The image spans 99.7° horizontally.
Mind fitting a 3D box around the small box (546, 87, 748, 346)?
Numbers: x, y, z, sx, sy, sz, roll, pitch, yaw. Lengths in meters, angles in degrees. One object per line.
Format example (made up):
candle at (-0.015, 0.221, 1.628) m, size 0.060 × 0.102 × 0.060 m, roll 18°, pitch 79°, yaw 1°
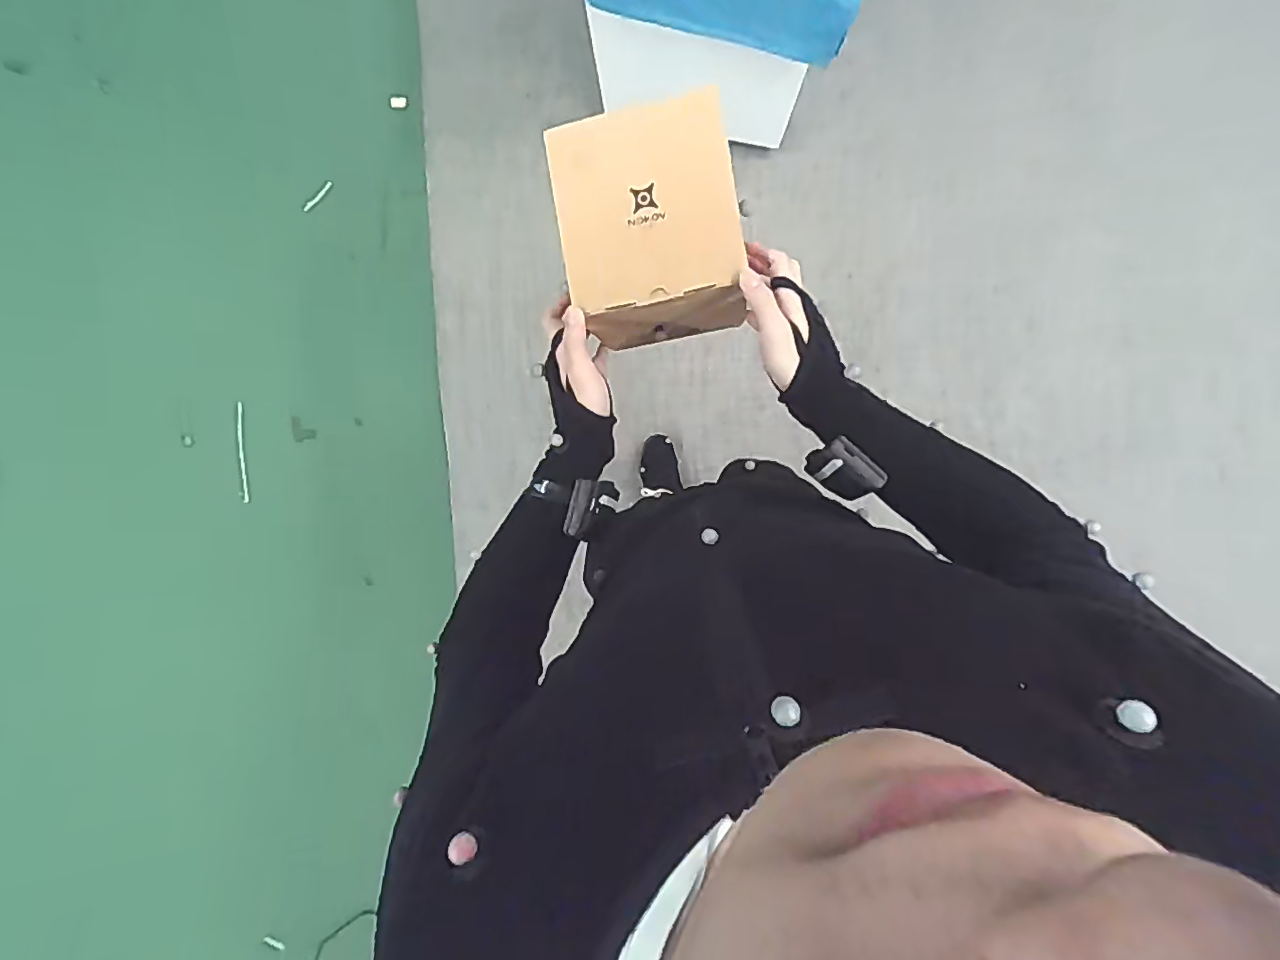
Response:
small box at (0.015, -0.254, 0.567) m, size 0.168 × 0.176 × 0.179 m, roll -9°, pitch 92°, yaw 9°
